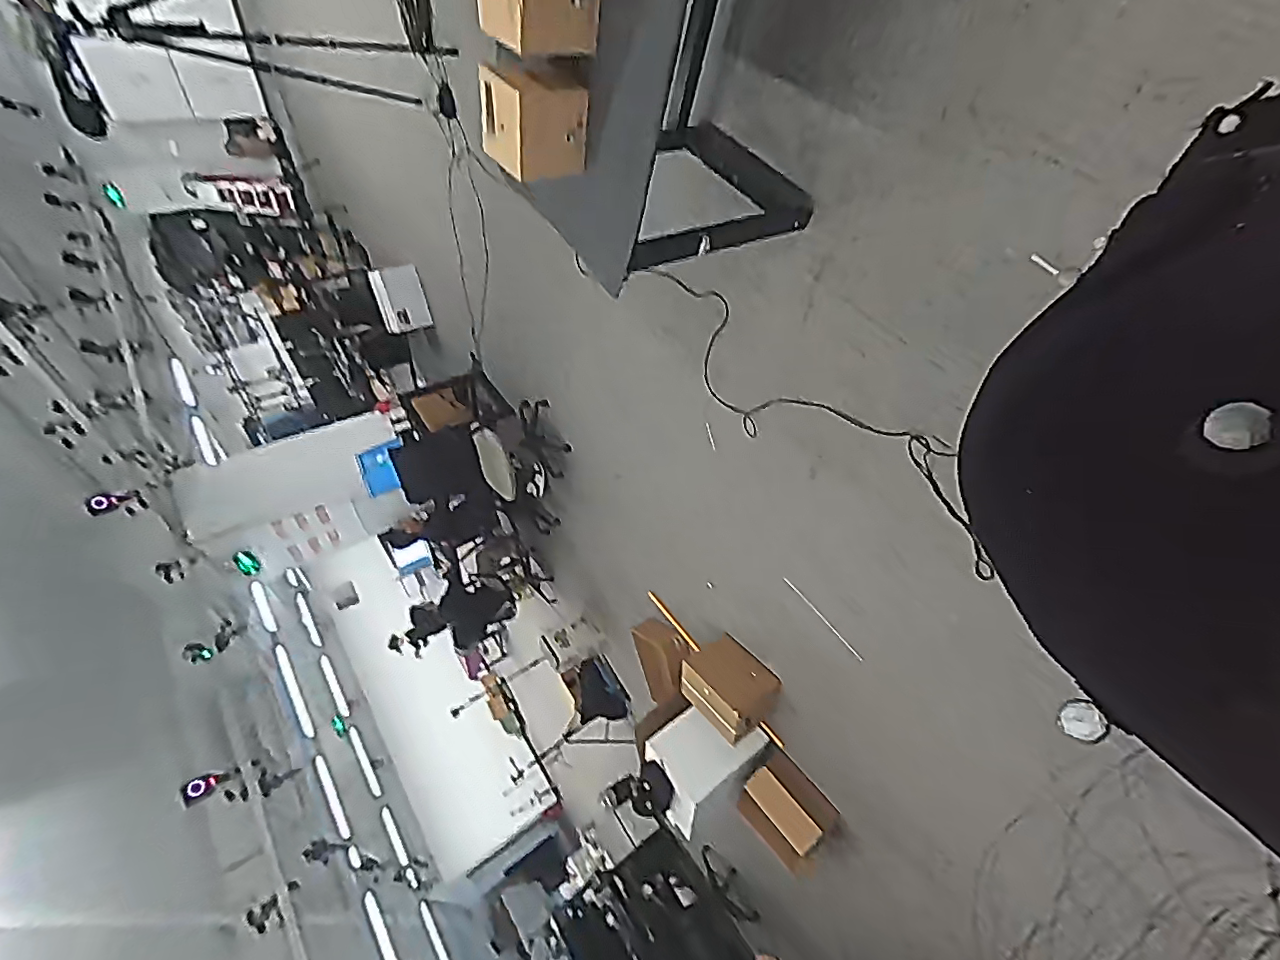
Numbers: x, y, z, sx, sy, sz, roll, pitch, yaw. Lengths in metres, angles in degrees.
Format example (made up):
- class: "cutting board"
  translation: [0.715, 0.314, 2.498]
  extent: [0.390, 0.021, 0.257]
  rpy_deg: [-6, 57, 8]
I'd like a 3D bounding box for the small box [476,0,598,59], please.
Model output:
- class: "small box"
  translation: [-0.194, -0.911, 1.010]
  extent: [0.179, 0.176, 0.168]
  rpy_deg: [49, 148, 27]
